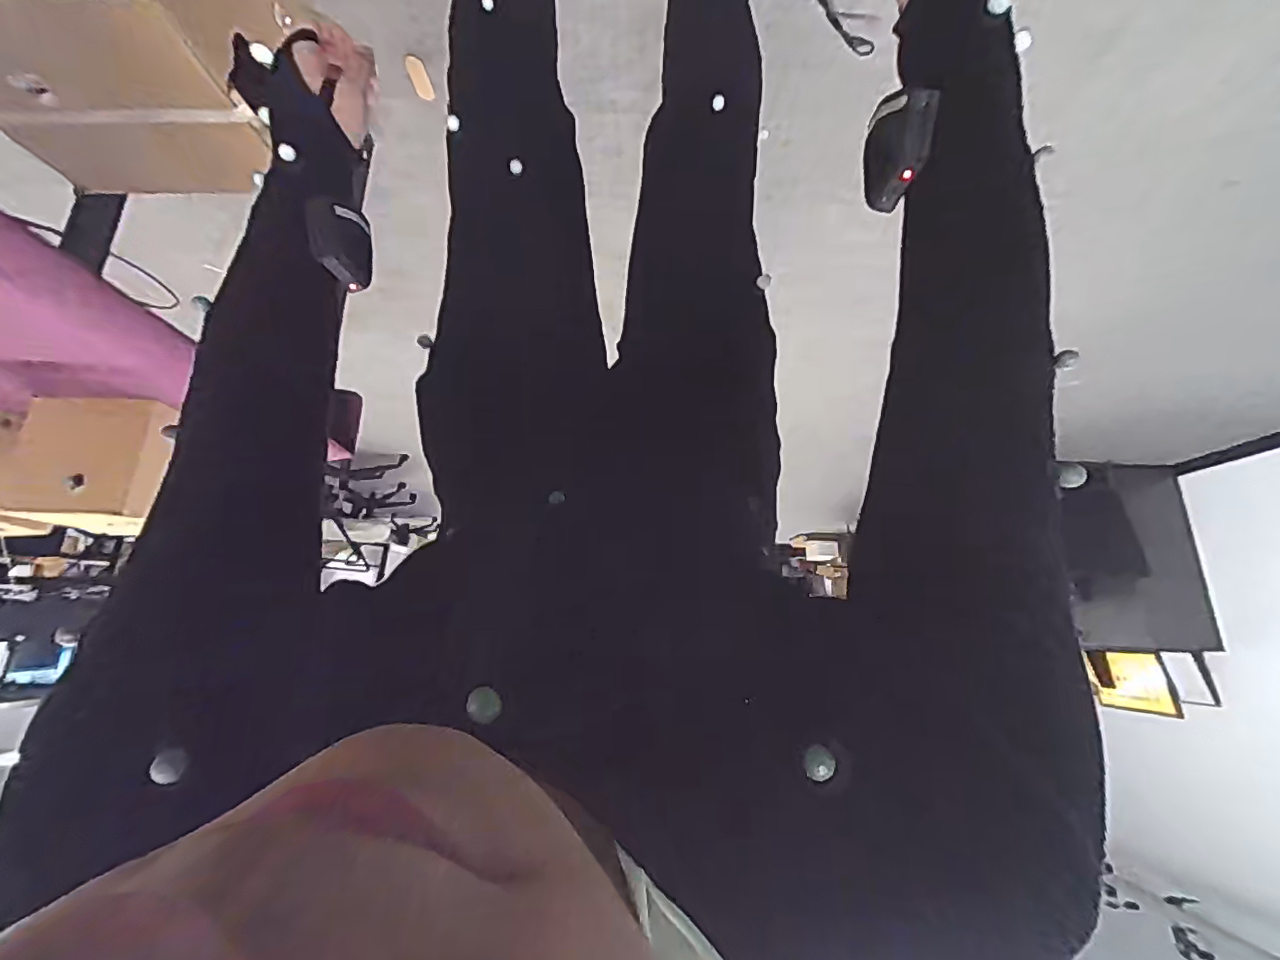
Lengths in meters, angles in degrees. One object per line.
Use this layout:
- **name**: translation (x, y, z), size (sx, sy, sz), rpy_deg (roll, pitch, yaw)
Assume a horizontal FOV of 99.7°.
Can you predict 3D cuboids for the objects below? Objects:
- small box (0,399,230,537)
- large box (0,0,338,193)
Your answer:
- **small box**: translation (-0.754, -0.013, 0.804), size (0.179, 0.176, 0.168), rpy_deg (2, 164, 2)
- **large box**: translation (-0.771, -0.691, 0.843), size (0.408, 0.320, 0.320), rpy_deg (1, 163, 2)
